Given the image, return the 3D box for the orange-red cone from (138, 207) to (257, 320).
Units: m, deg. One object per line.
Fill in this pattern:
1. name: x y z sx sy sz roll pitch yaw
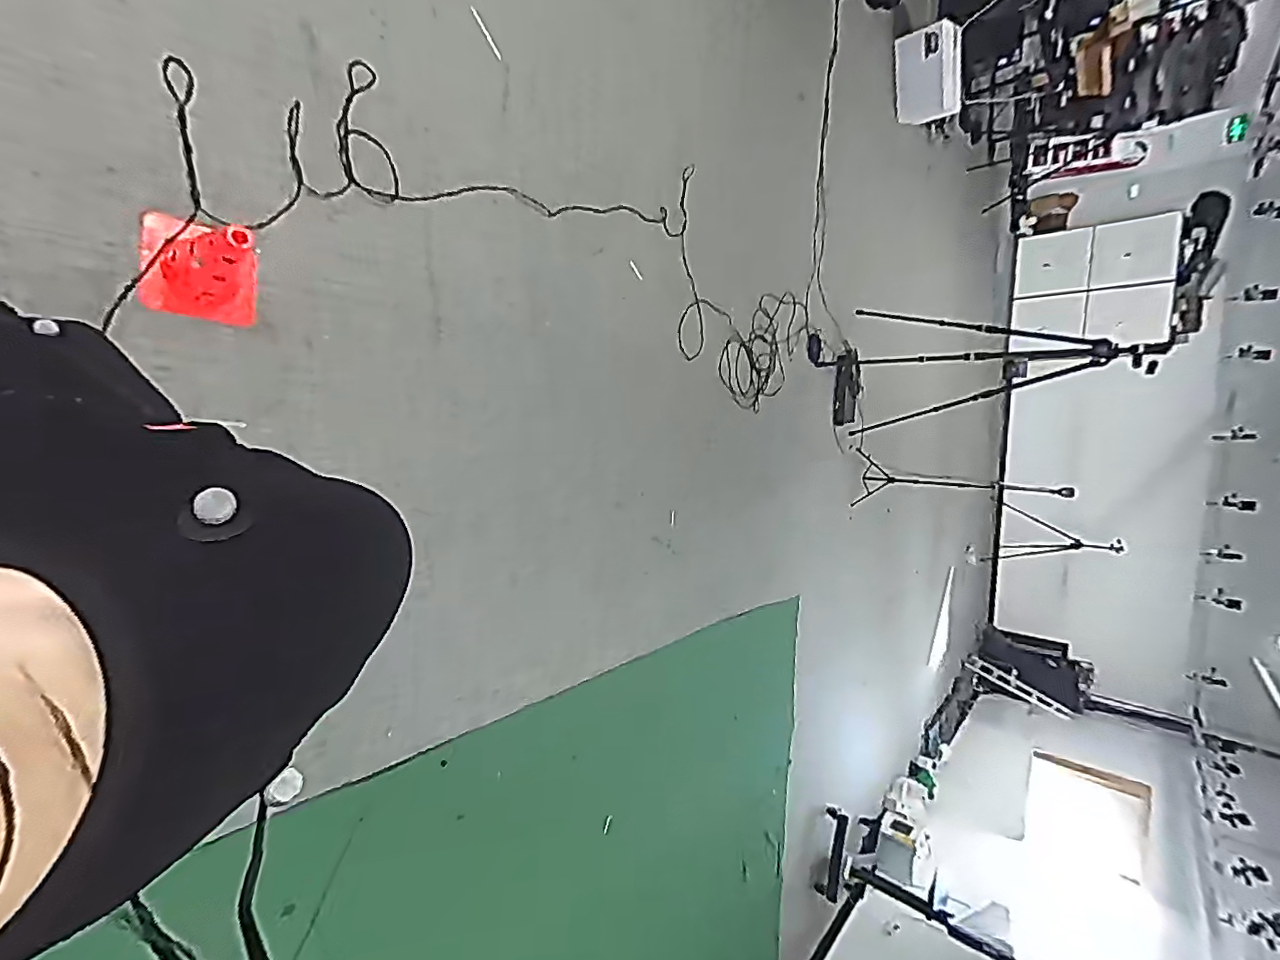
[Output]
1. orange-red cone: -0.838 -0.452 1.069 0.198 0.360 0.199 4 93 -47
